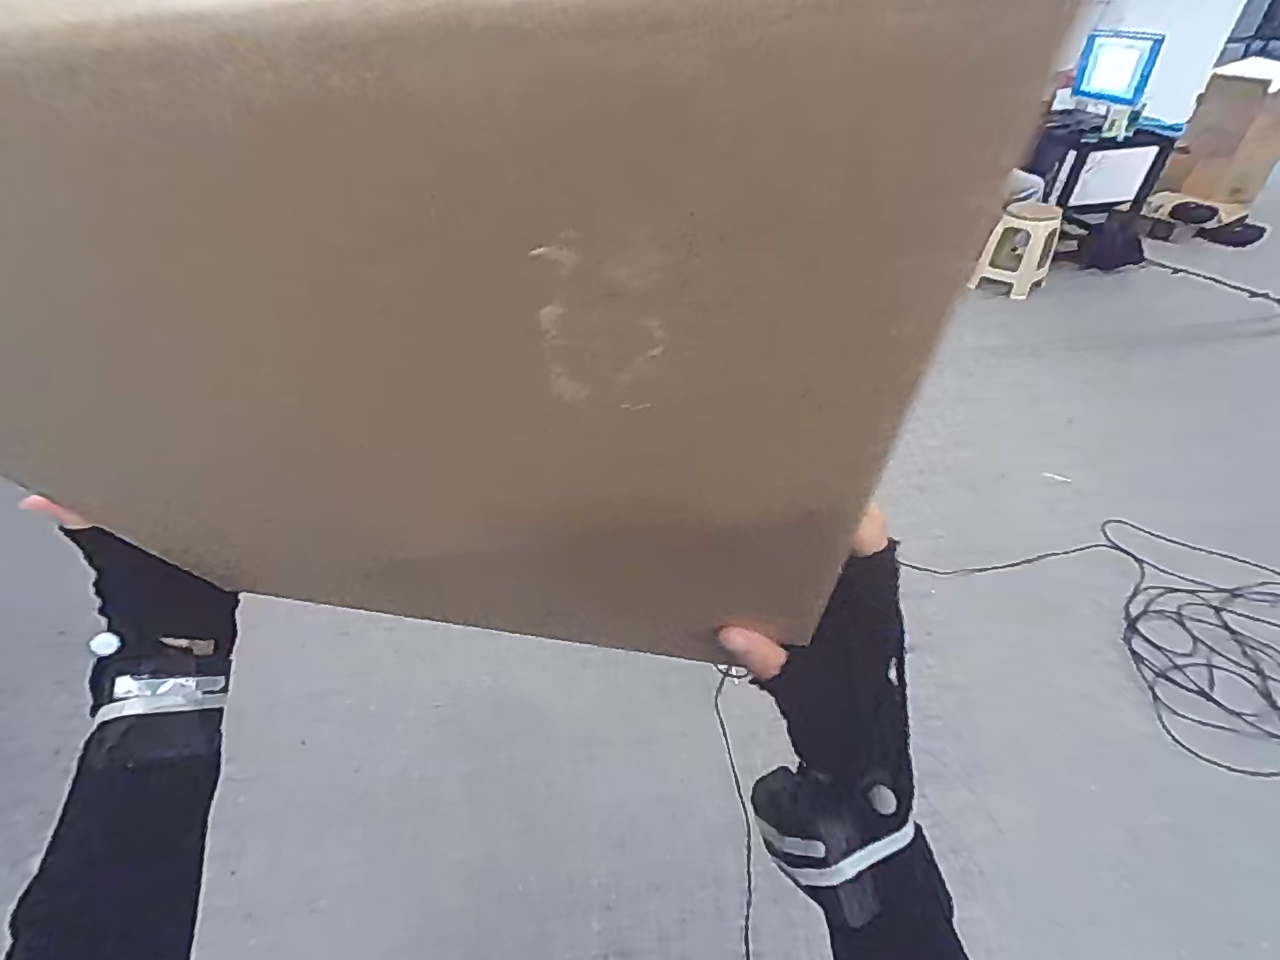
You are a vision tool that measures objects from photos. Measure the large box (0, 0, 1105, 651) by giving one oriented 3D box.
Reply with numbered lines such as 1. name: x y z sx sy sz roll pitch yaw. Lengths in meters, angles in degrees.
1. large box: -0.086 -0.116 0.317 0.408 0.320 0.320 5 58 10
